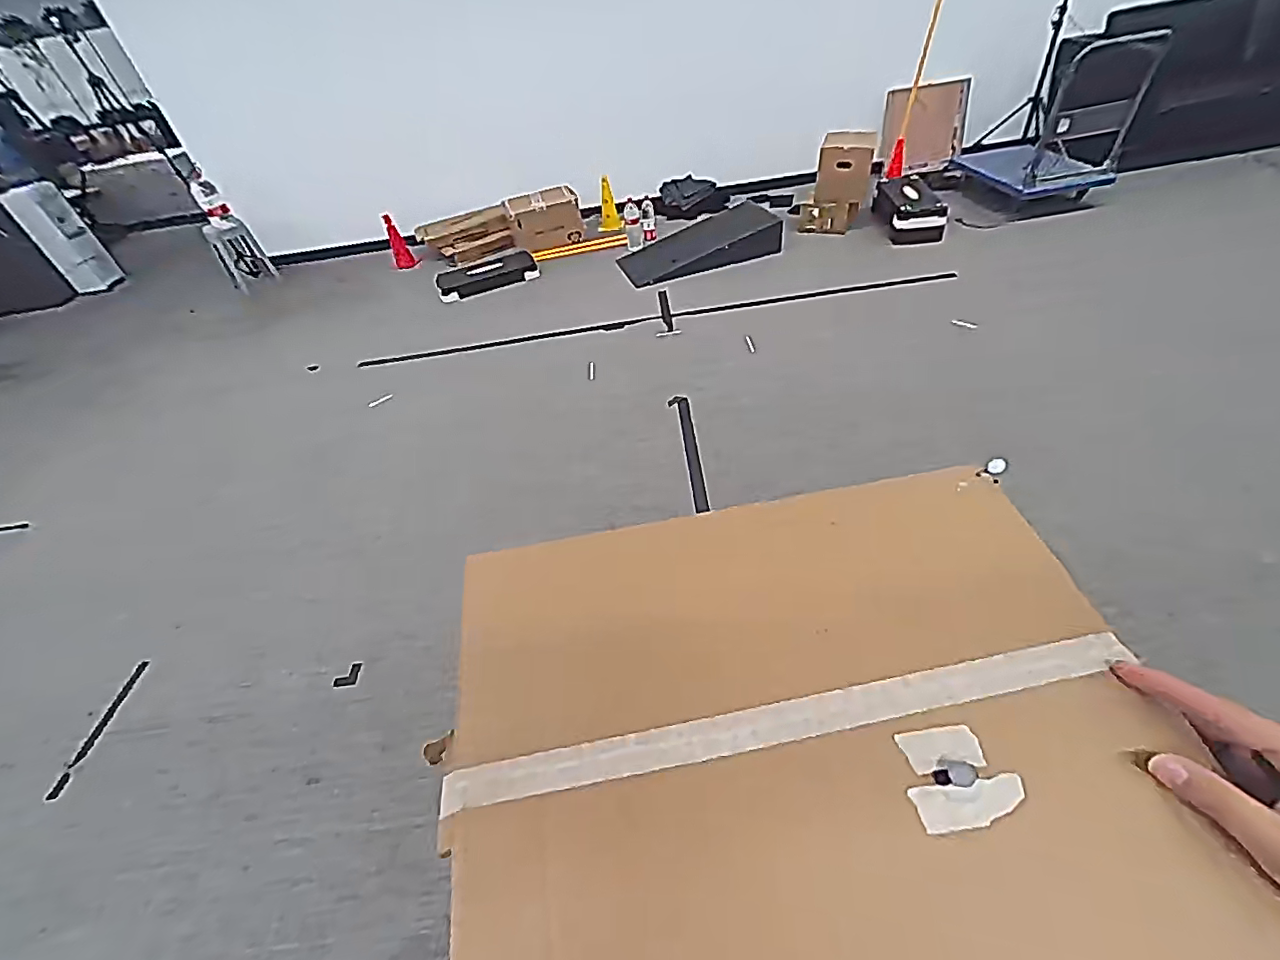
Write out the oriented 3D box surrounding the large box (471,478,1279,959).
[{"bbox_3d":[0.104,0.243,0.439,0.408,0.320,0.320,-10,51,-4],"label":"large box"}]
